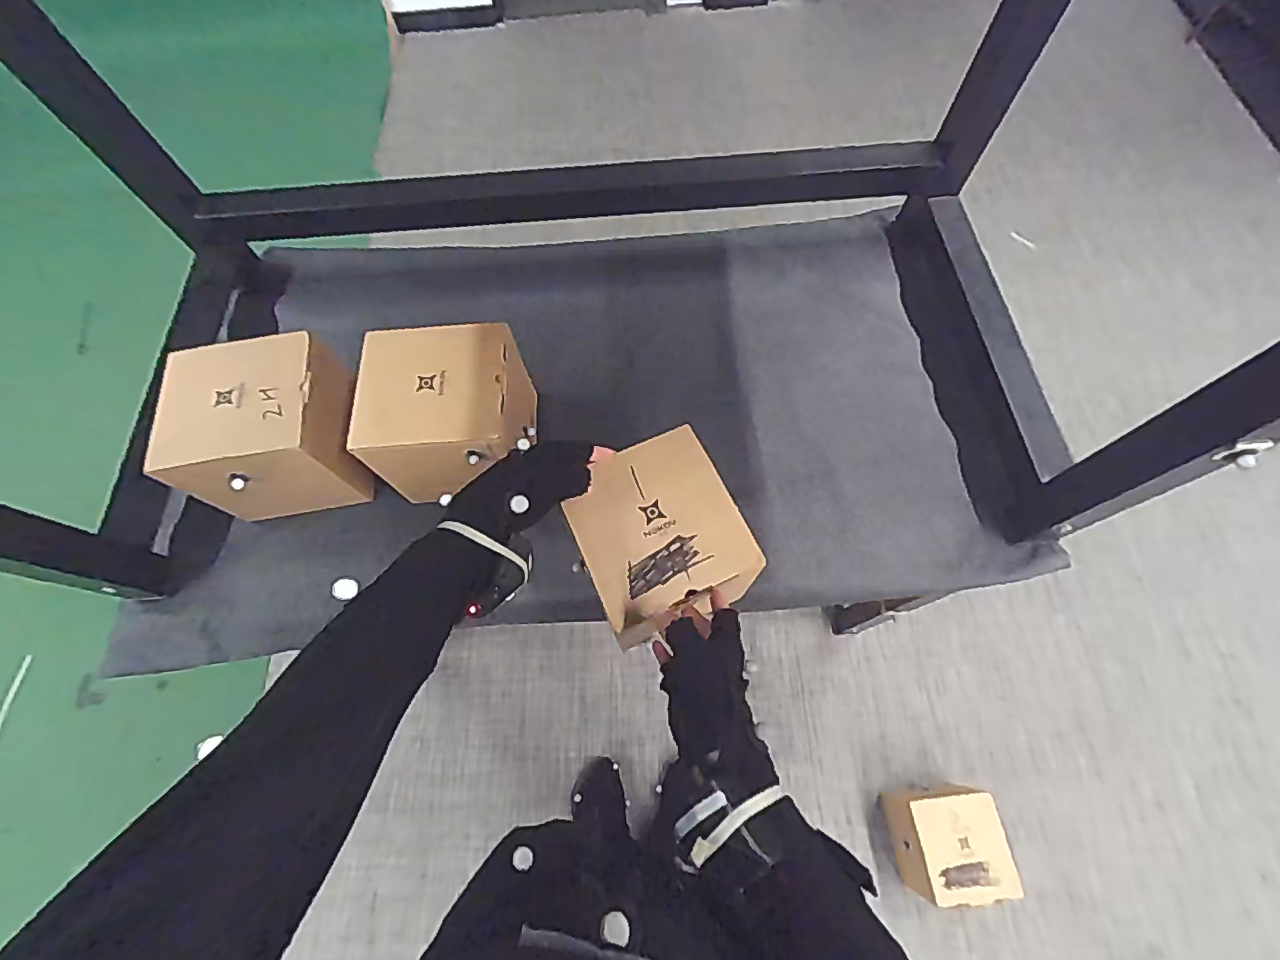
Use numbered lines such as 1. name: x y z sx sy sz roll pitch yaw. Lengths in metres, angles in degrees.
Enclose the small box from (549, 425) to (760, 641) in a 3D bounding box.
1. small box: 0.014 0.072 0.620 0.168 0.176 0.179 -22 68 -9
